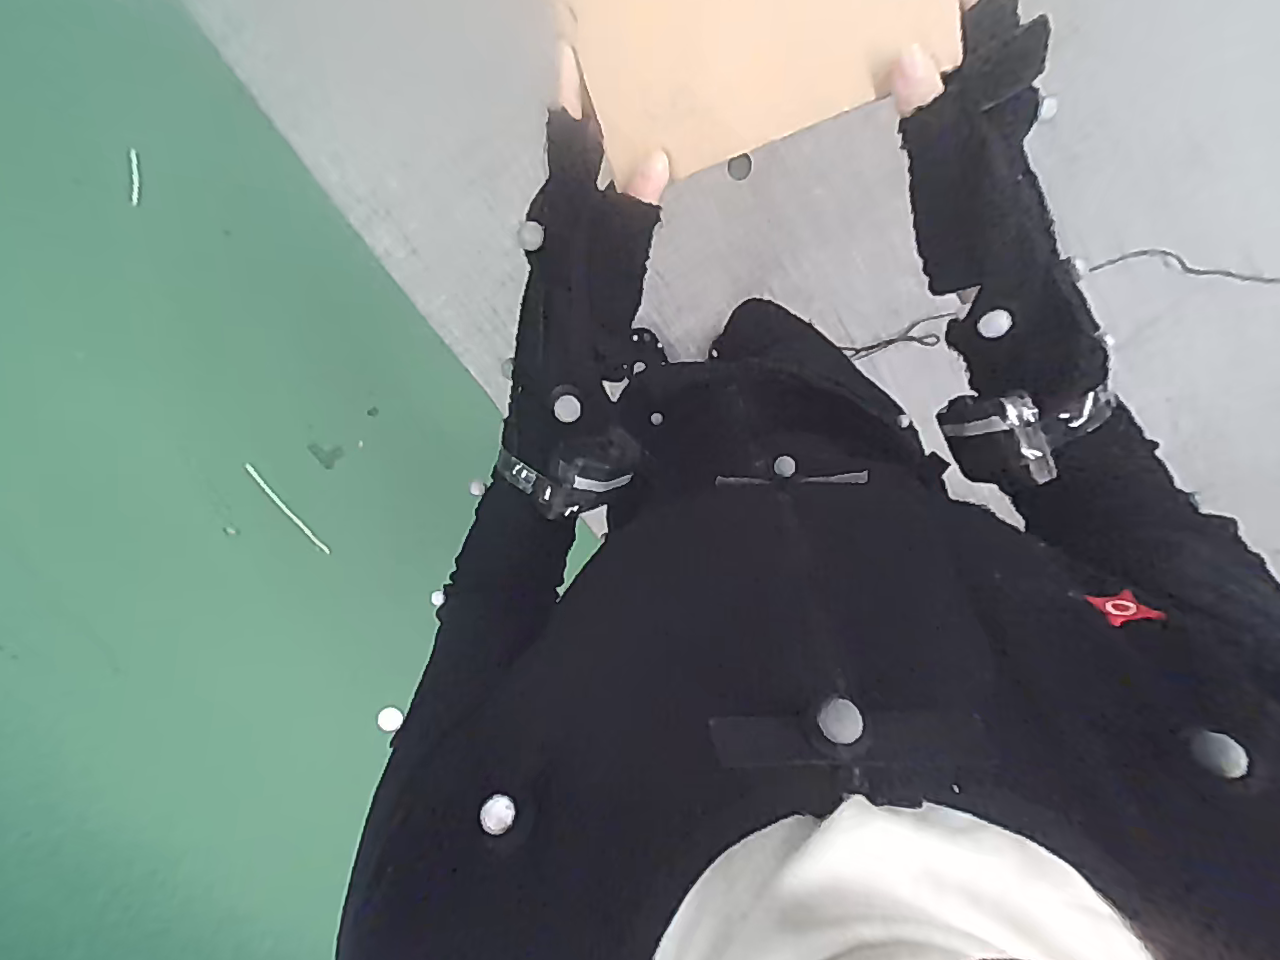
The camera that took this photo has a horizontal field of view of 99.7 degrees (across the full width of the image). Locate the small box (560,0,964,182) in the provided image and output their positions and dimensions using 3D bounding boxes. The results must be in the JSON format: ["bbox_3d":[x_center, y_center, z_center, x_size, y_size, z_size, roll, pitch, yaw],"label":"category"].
[{"bbox_3d":[0.050,-0.292,0.312,0.179,0.176,0.168,-18,114,14],"label":"small box"}]
